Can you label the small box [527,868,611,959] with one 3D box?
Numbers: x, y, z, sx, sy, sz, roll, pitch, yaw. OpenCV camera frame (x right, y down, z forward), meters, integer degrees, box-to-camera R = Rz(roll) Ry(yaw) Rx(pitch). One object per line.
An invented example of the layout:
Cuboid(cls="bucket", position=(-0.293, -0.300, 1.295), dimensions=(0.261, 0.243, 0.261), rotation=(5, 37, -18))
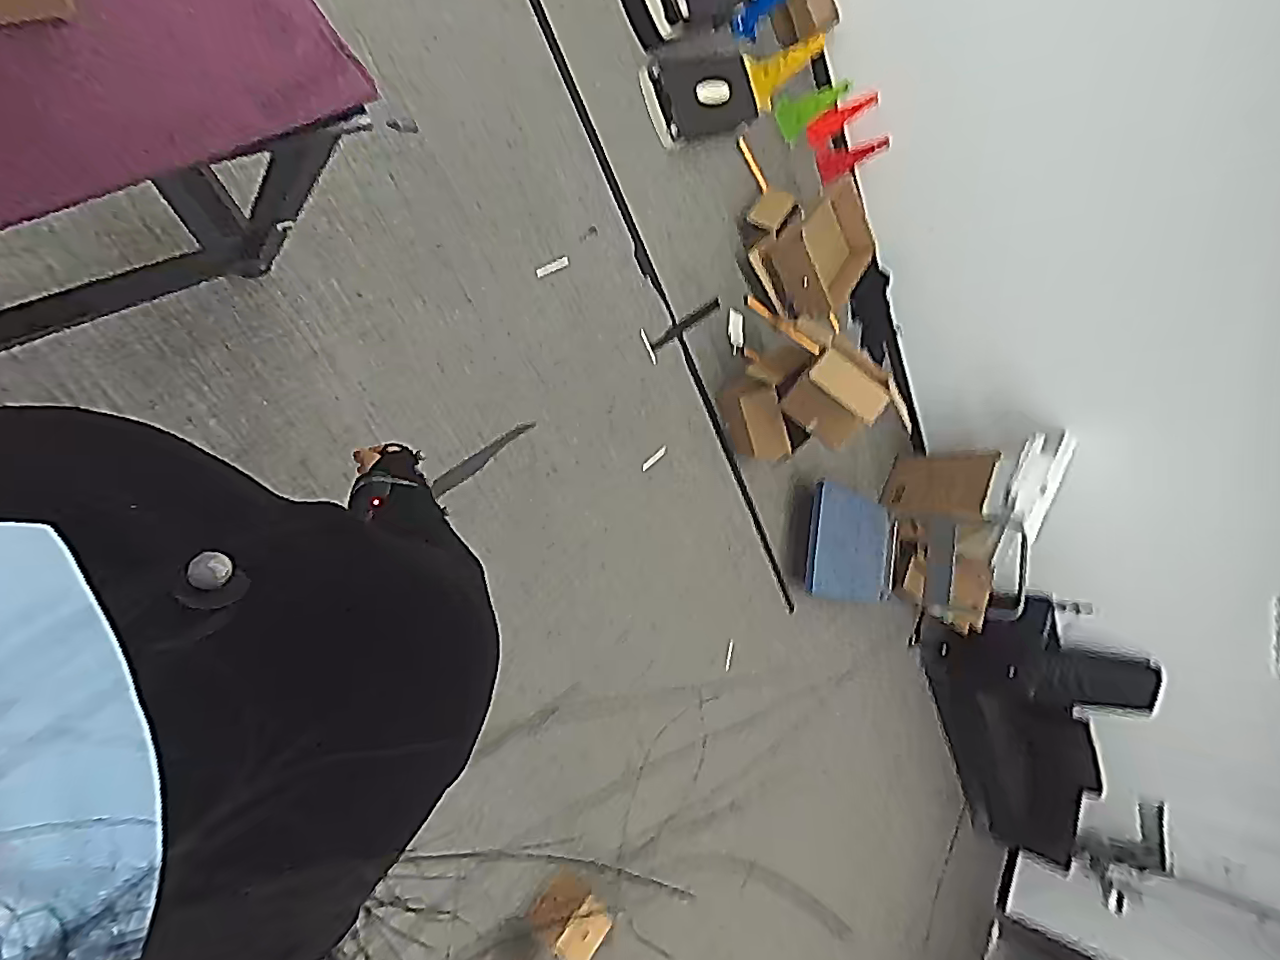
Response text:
Cuboid(cls="small box", position=(-0.234, 1.425, 1.770), dimensions=(0.168, 0.176, 0.179), rotation=(-42, 117, -36))
